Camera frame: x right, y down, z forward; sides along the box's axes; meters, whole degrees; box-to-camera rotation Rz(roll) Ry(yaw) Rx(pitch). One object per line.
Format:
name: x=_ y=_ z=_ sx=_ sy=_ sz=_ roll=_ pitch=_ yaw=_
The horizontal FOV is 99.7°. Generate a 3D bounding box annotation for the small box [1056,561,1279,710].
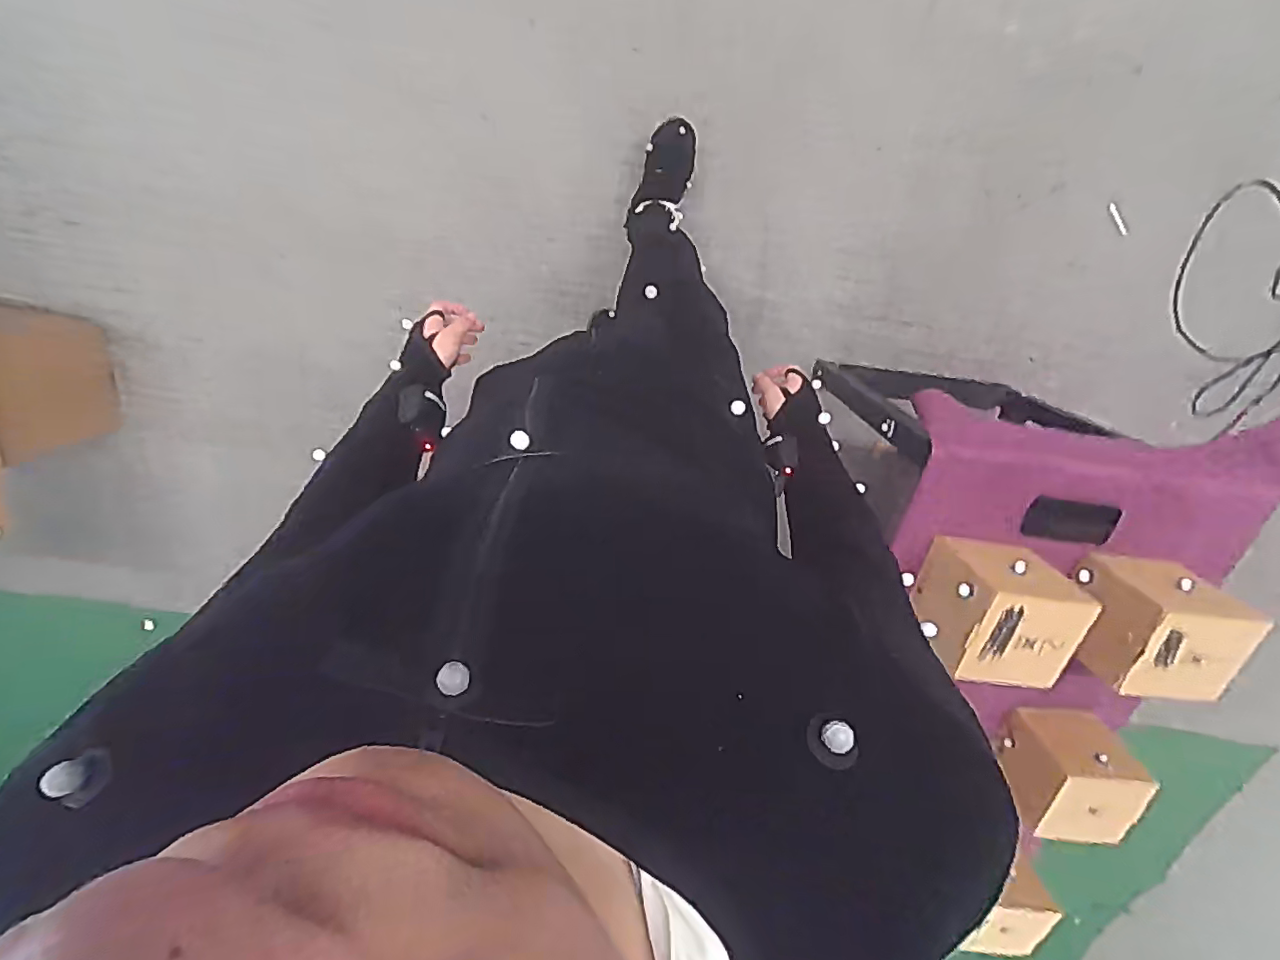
small box: x=0.856 y=0.251 z=0.902 sx=0.179 sy=0.176 sz=0.168 roll=6 pitch=114 yaw=-3

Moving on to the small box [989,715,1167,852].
small box: x=0.835 y=0.584 z=1.053 sx=0.179 sy=0.176 sz=0.168 roll=7 pitch=113 yaw=-2

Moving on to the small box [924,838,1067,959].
small box: x=0.780 y=0.936 z=1.208 sx=0.179 sy=0.176 sz=0.168 roll=8 pitch=113 yaw=-4
